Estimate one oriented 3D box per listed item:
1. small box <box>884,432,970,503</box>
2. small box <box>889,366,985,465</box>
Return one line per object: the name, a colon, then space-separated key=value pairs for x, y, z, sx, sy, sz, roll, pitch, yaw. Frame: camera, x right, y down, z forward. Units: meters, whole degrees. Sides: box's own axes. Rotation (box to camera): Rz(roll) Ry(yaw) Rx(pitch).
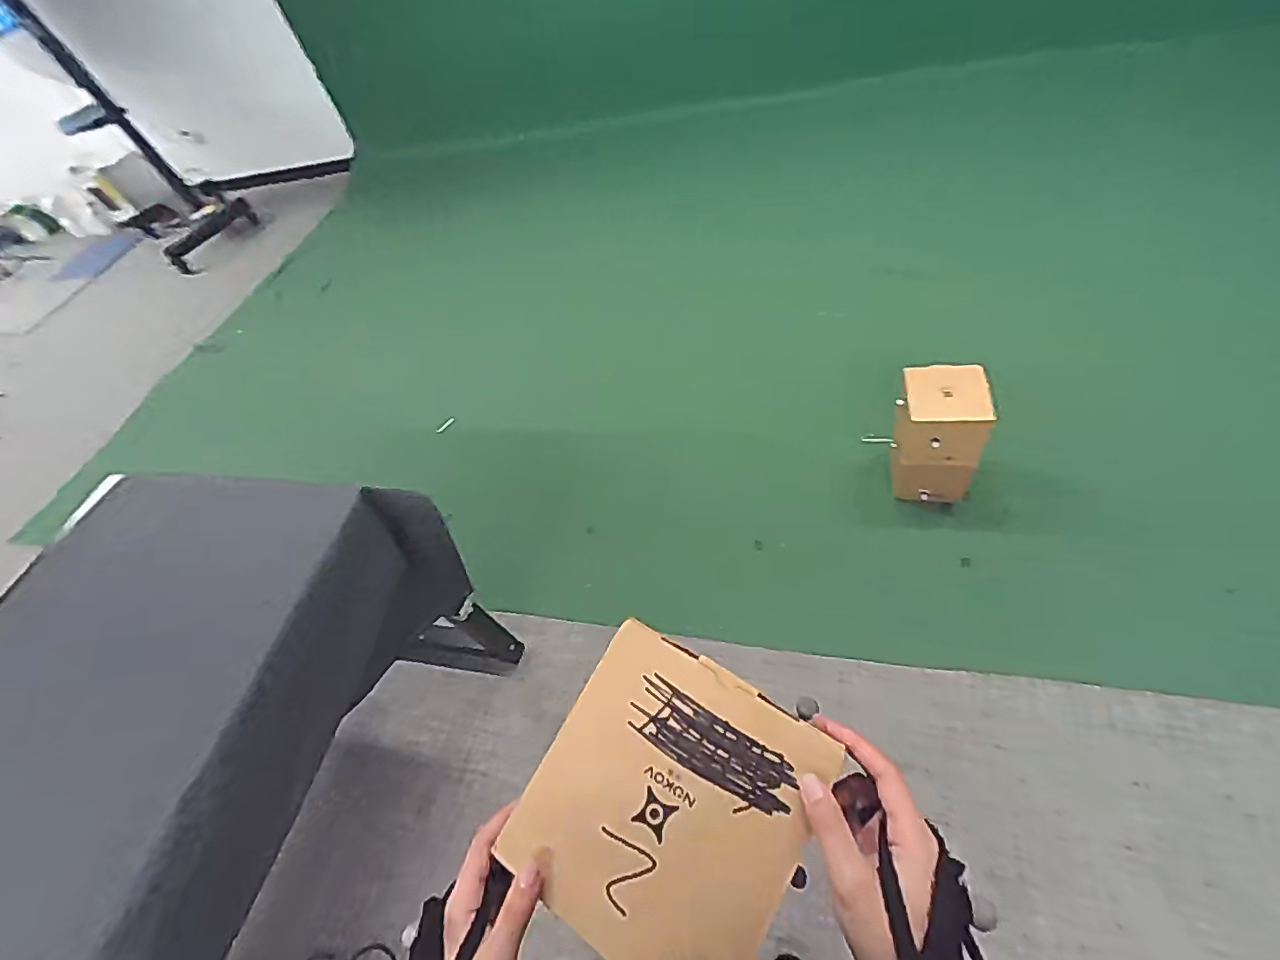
small box: x=0.749 y=-0.059 z=1.430 sx=0.168 sy=0.176 sz=0.179 roll=1 pitch=56 yaw=17
small box: x=0.705 y=-0.150 z=1.302 sx=0.168 sy=0.176 sz=0.179 roll=1 pitch=54 yaw=16
